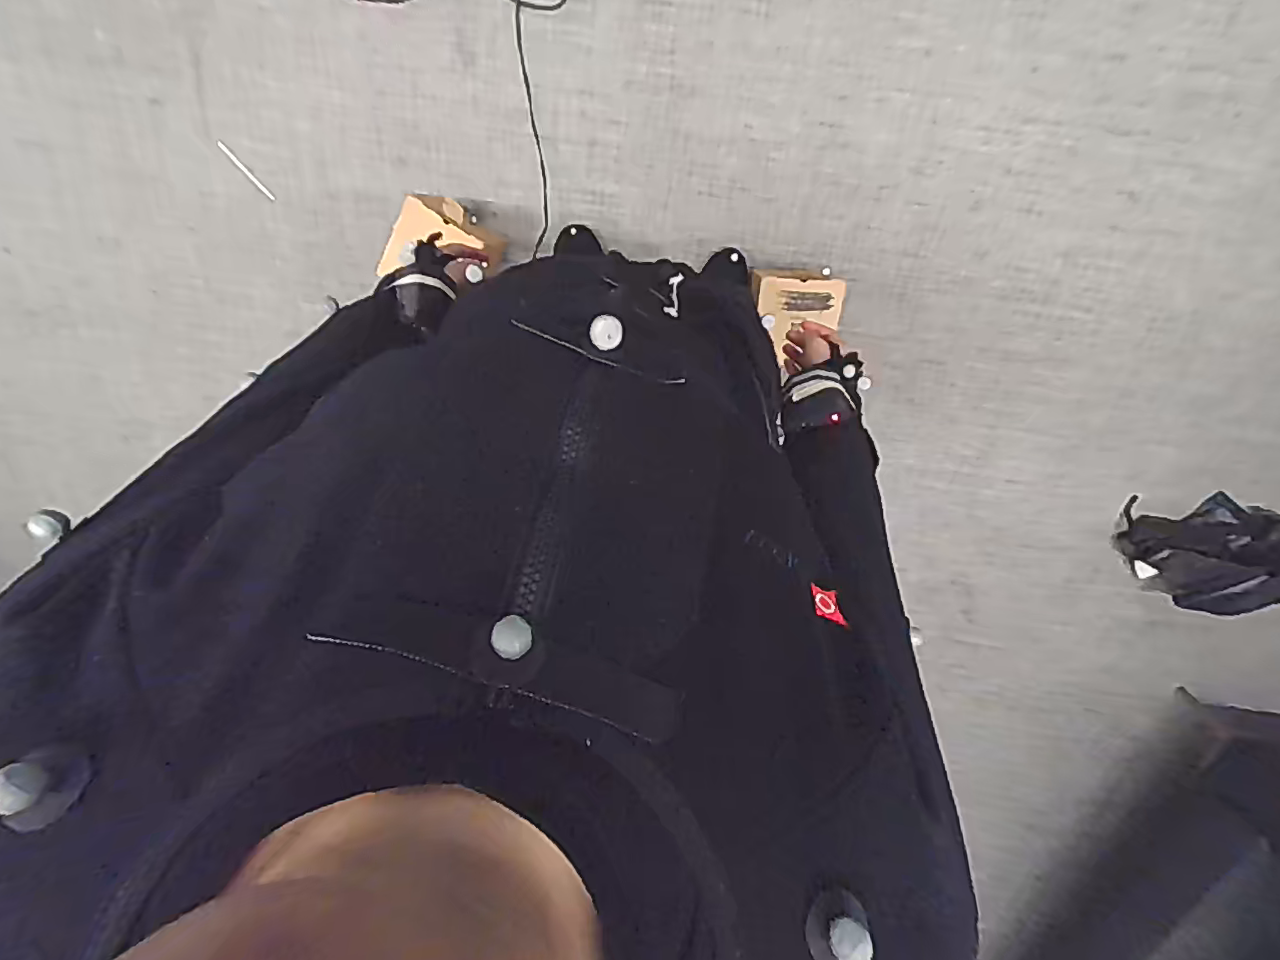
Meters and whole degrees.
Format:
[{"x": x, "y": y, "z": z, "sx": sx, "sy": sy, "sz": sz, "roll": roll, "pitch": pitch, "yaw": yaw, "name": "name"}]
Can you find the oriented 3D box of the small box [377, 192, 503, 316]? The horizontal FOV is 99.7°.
[{"x": -0.414, "y": -0.477, "z": 1.145, "sx": 0.168, "sy": 0.176, "sz": 0.179, "roll": 31, "pitch": 113, "yaw": -11, "name": "small box"}]
